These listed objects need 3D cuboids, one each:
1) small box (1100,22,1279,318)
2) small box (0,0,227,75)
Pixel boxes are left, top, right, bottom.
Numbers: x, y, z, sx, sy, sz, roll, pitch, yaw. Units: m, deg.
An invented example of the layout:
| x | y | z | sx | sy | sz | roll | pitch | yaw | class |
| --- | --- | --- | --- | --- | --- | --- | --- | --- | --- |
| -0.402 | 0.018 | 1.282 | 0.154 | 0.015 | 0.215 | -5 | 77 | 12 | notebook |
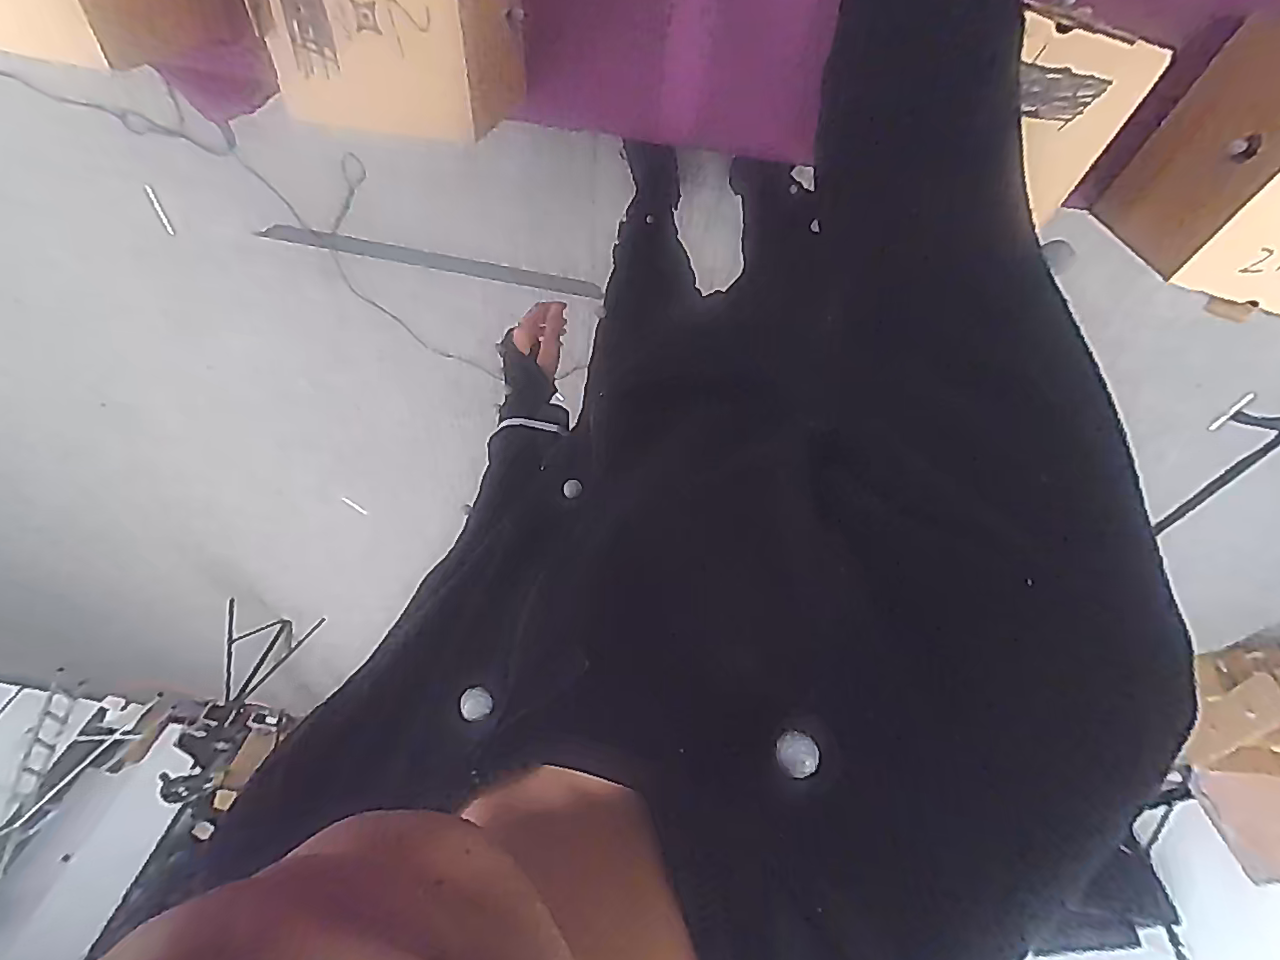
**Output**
| x | y | z | sx | sy | sz | roll | pitch | yaw | class |
| --- | --- | --- | --- | --- | --- | --- | --- | --- | --- |
| 0.572 | -0.268 | 0.477 | 0.168 | 0.176 | 0.179 | 16 | 137 | -3 | small box |
| -0.532 | -0.490 | 0.481 | 0.179 | 0.176 | 0.168 | 10 | 137 | 0 | small box |
